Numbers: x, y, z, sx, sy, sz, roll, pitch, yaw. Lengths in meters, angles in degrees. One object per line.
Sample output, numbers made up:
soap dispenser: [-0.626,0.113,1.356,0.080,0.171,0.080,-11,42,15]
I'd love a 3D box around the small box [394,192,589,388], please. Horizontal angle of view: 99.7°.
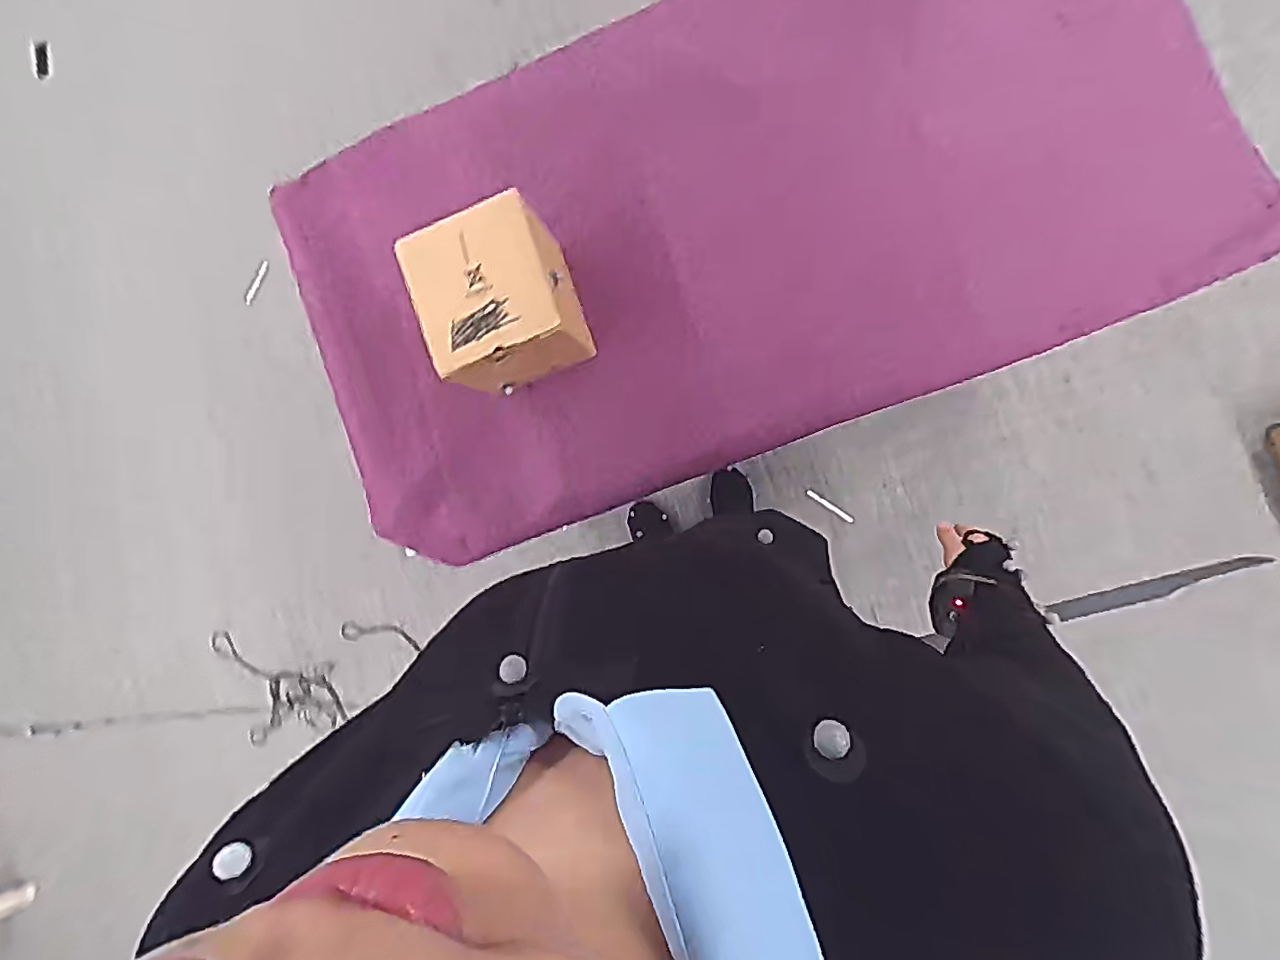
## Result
small box: [-0.182,-0.231,0.716,0.168,0.176,0.179,-20,88,8]
